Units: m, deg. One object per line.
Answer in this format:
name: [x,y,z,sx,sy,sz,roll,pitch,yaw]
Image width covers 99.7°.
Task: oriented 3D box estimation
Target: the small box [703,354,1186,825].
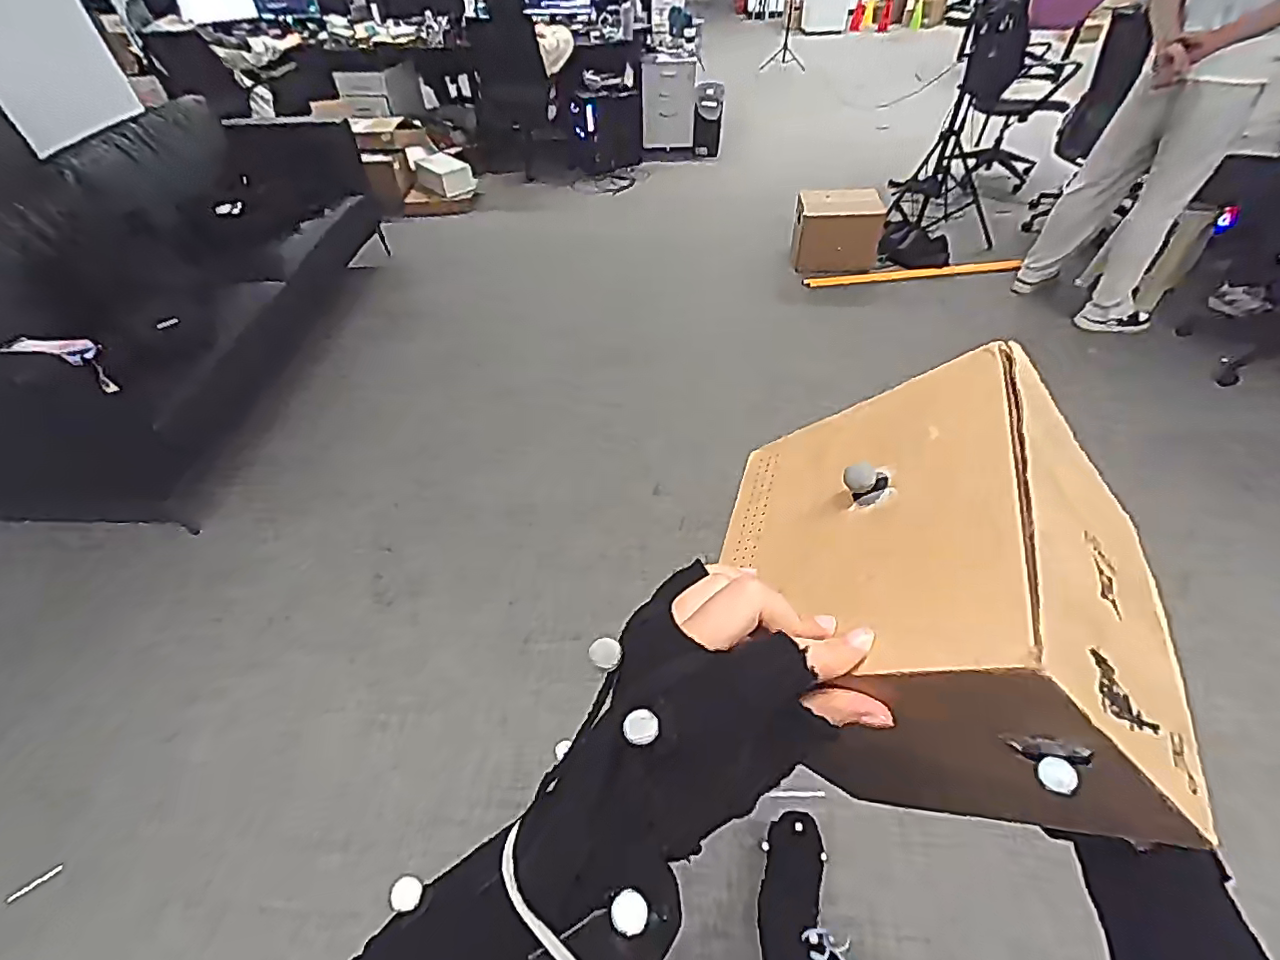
small box: [0.161,0.067,0.319,0.168,0.176,0.179,39,51,-21]
